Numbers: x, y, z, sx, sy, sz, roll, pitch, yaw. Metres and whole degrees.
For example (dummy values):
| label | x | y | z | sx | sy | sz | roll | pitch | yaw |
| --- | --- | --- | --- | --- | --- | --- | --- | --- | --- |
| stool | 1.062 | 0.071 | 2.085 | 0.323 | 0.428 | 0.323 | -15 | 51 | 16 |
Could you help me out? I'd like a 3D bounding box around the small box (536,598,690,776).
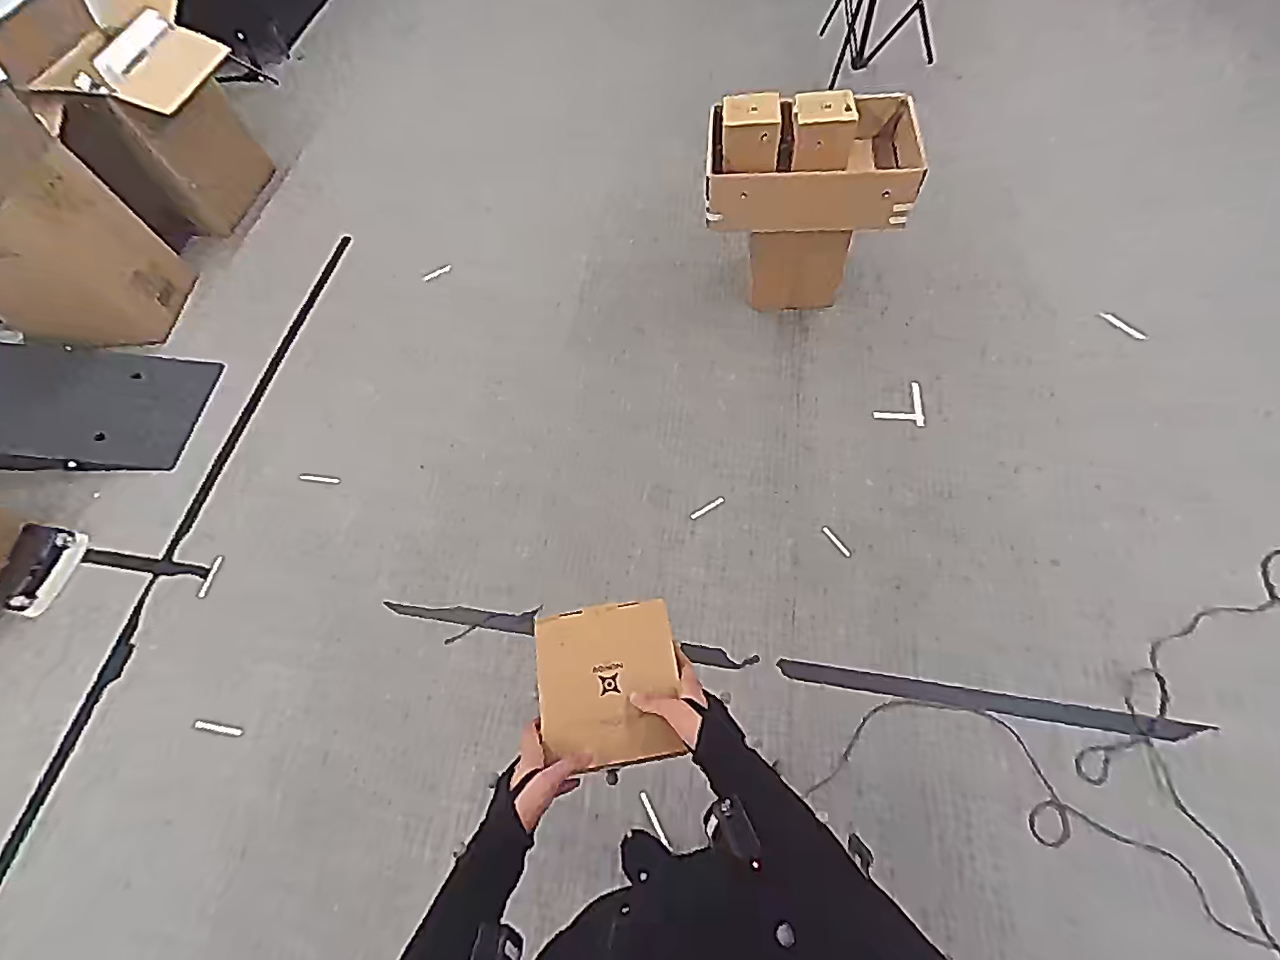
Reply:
| label | x | y | z | sx | sy | sz | roll | pitch | yaw |
| --- | --- | --- | --- | --- | --- | --- | --- | --- | --- |
| small box | -0.036 | 0.271 | 0.696 | 0.168 | 0.176 | 0.179 | -8 | 61 | -3 |
